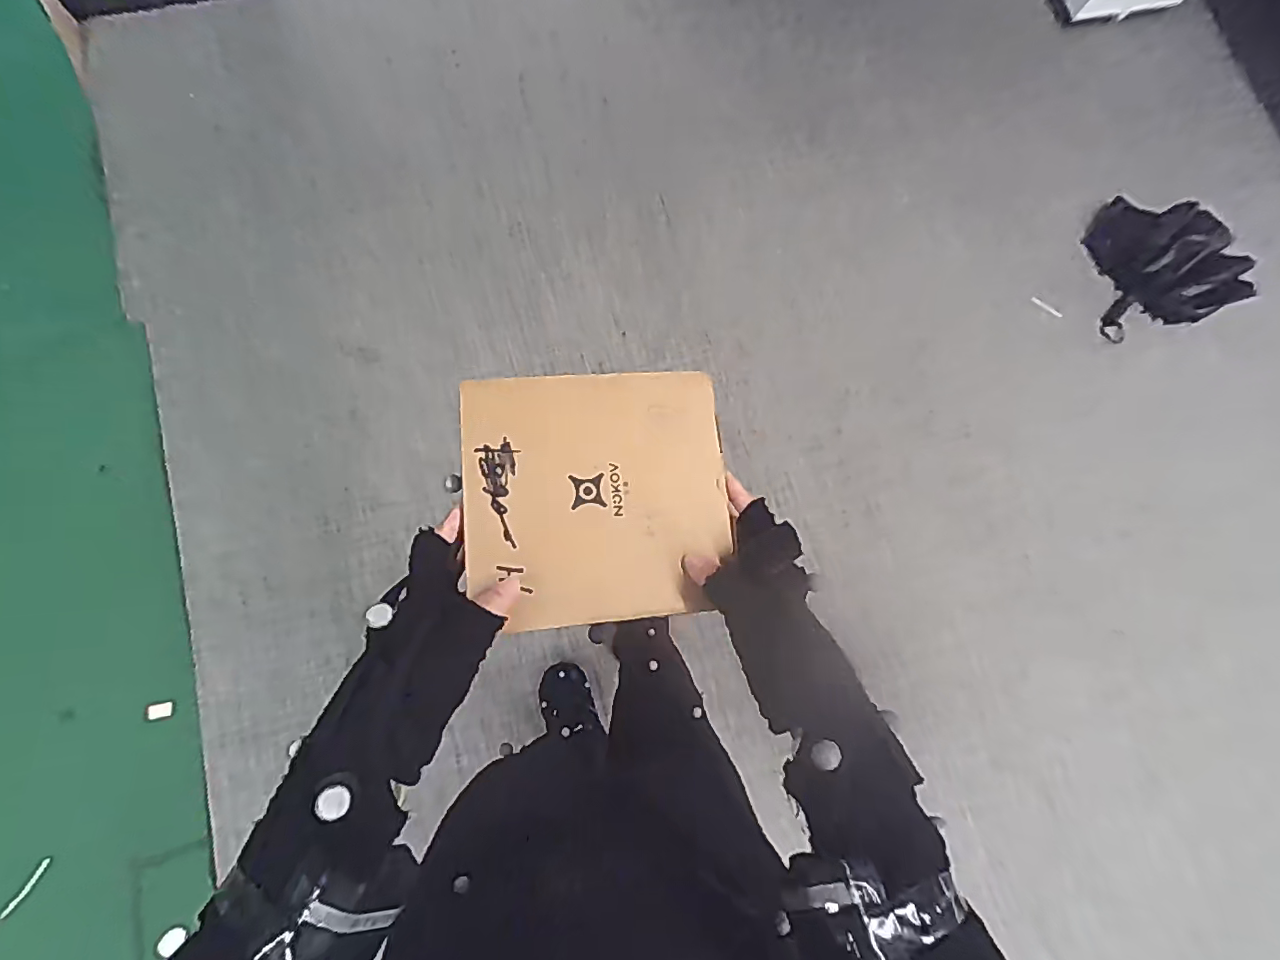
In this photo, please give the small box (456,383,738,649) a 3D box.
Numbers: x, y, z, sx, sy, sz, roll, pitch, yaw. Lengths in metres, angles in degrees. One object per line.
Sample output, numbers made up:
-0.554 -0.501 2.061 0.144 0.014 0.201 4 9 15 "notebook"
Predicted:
-0.042 0.034 0.440 0.179 0.176 0.168 -7 78 -10 "small box"
